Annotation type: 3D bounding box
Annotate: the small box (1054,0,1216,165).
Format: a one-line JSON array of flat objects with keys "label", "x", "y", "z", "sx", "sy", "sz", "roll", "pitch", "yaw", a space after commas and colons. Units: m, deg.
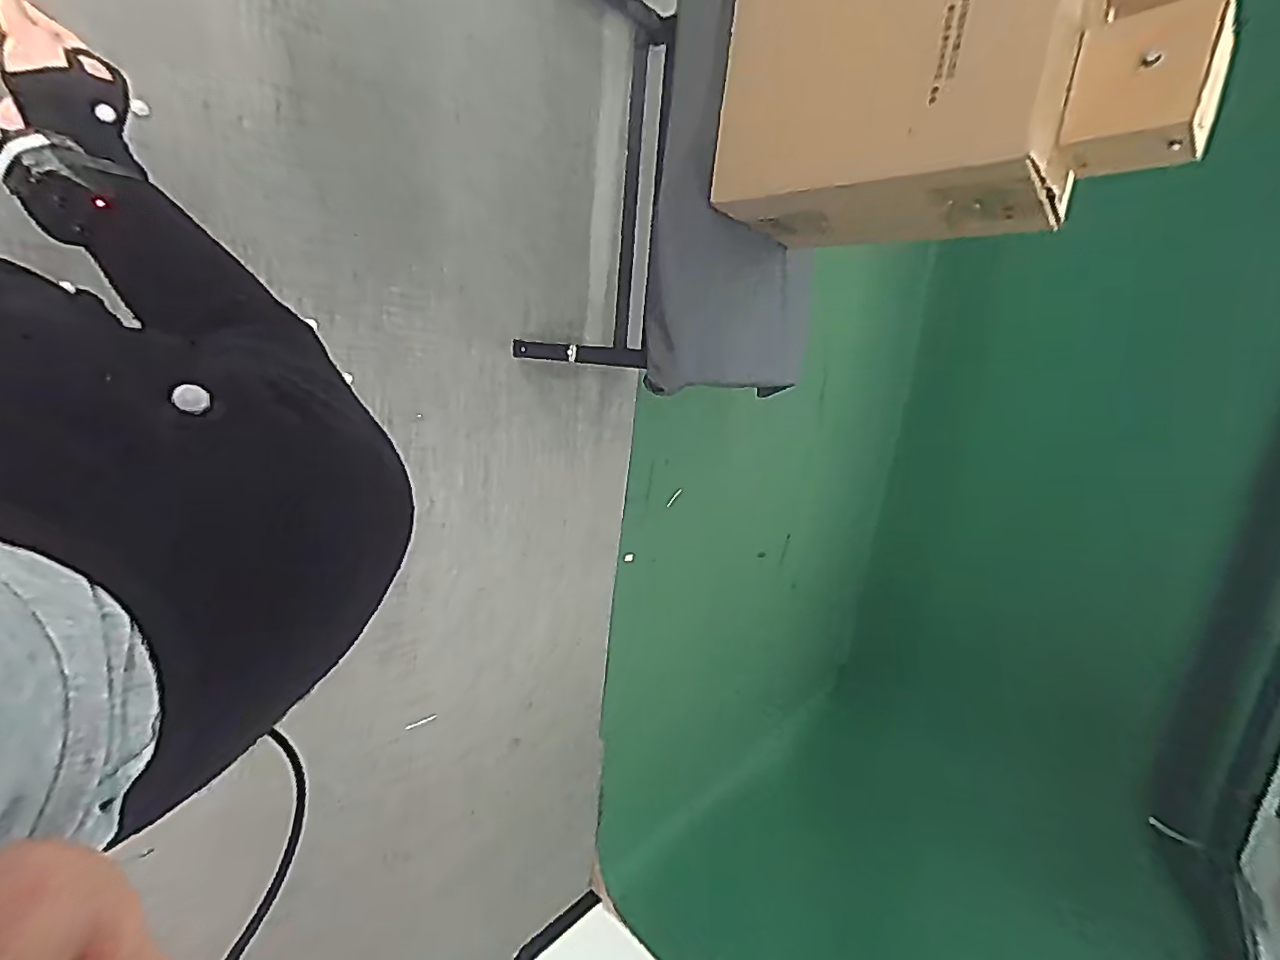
[{"label": "small box", "x": 0.808, "y": -0.653, "z": 0.889, "sx": 0.168, "sy": 0.176, "sz": 0.179, "roll": -5, "pitch": 104, "yaw": -43}]
